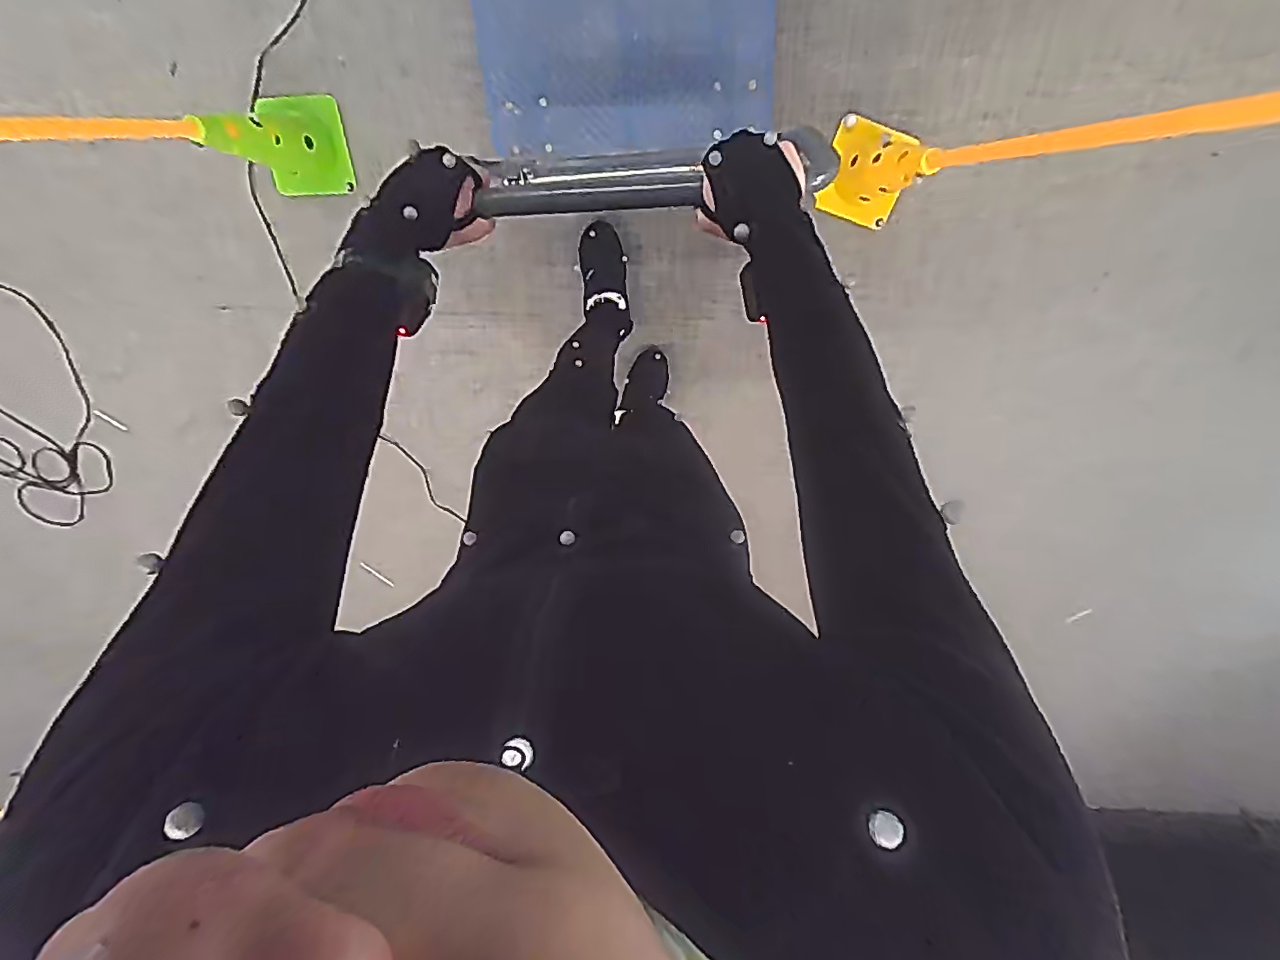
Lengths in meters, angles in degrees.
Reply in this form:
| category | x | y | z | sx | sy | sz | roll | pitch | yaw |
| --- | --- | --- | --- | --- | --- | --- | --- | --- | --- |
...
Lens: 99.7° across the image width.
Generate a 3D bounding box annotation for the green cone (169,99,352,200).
| category | x | y | z | sx | sy | sz | roll | pitch | yaw |
| --- | --- | --- | --- | --- | --- | --- | --- | --- | --- |
| green cone | -0.810 | -0.705 | 1.128 | 0.202 | 0.368 | 0.200 | -1 | 116 | 4 |
